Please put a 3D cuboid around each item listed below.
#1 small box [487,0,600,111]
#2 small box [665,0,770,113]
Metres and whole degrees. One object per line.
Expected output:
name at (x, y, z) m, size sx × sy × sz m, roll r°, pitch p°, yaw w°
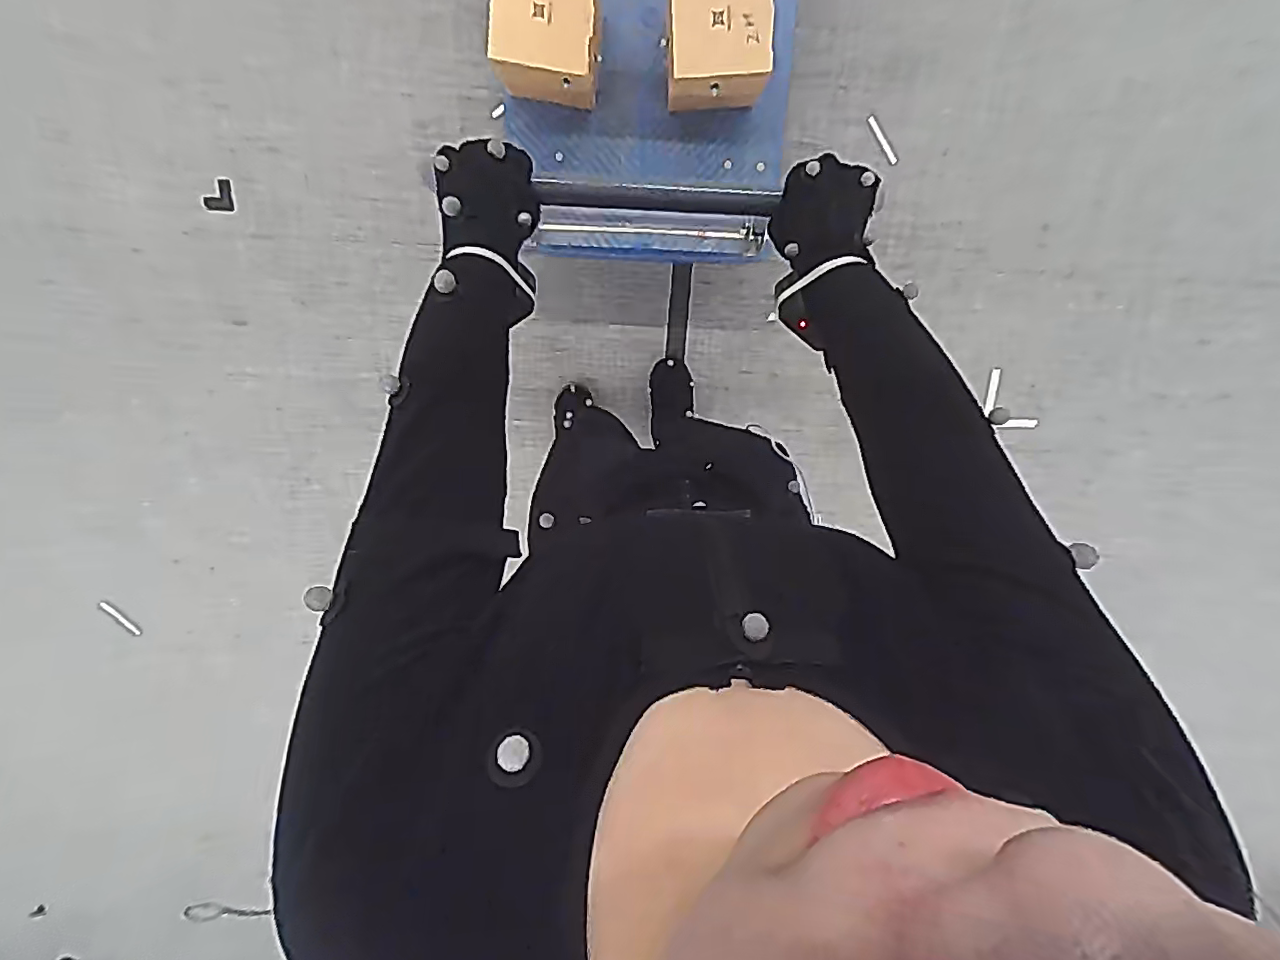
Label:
small box at (-0.171, -0.811, 0.996) m, size 0.179 × 0.176 × 0.168 m, roll 7°, pitch 107°, yaw -5°
small box at (0.136, -0.803, 1.002) m, size 0.179 × 0.176 × 0.168 m, roll -3°, pitch 108°, yaw 1°
